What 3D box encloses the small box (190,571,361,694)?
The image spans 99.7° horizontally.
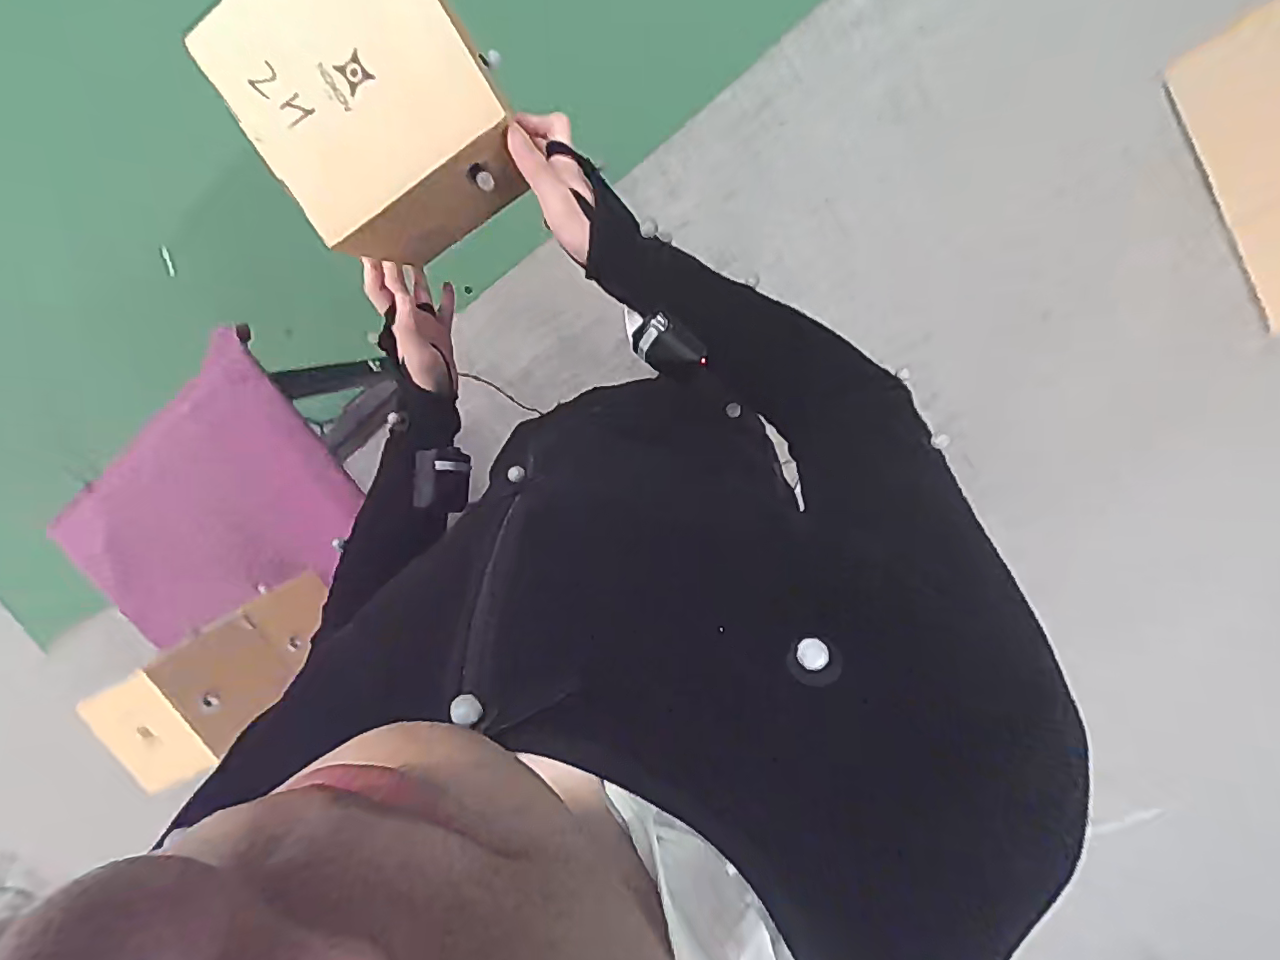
[{"bbox_3d":[-0.678,0.304,1.029,0.168,0.176,0.179,-26,101,16],"label":"small box"}]

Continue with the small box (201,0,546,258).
[{"bbox_3d":[-0.197,-0.314,0.465,0.179,0.176,0.168,-28,103,11],"label":"small box"}]

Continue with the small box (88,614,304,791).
[{"bbox_3d":[-0.700,0.352,0.875,0.168,0.176,0.179,-27,101,15],"label":"small box"}]
